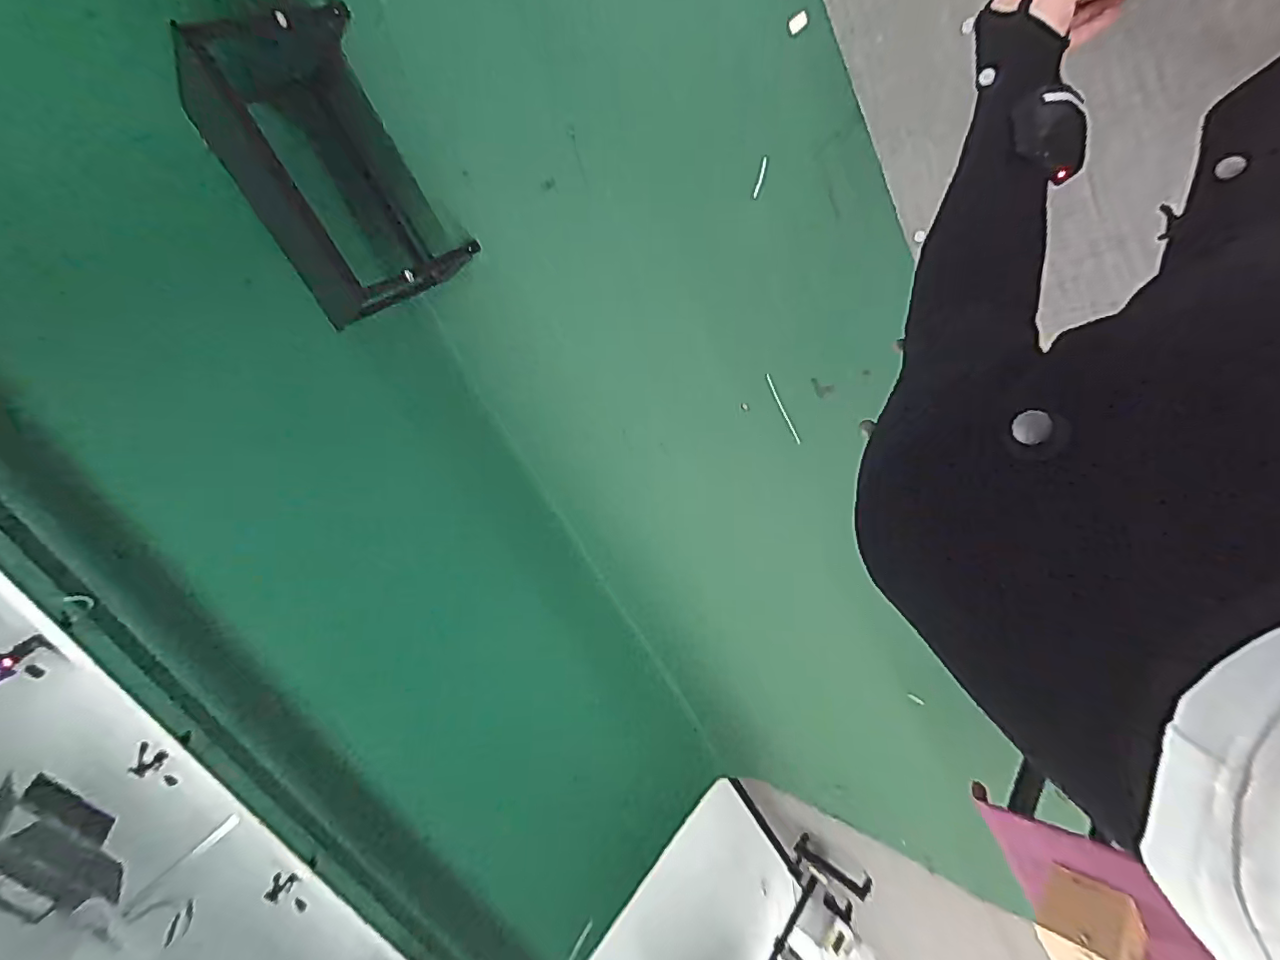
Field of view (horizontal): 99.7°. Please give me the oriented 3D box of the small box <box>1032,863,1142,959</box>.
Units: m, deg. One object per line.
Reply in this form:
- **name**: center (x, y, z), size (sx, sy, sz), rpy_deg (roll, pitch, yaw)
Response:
- **small box**: center (1.110, 1.110, 1.340), size (0.168, 0.176, 0.179), rpy_deg (-5, 122, 53)
